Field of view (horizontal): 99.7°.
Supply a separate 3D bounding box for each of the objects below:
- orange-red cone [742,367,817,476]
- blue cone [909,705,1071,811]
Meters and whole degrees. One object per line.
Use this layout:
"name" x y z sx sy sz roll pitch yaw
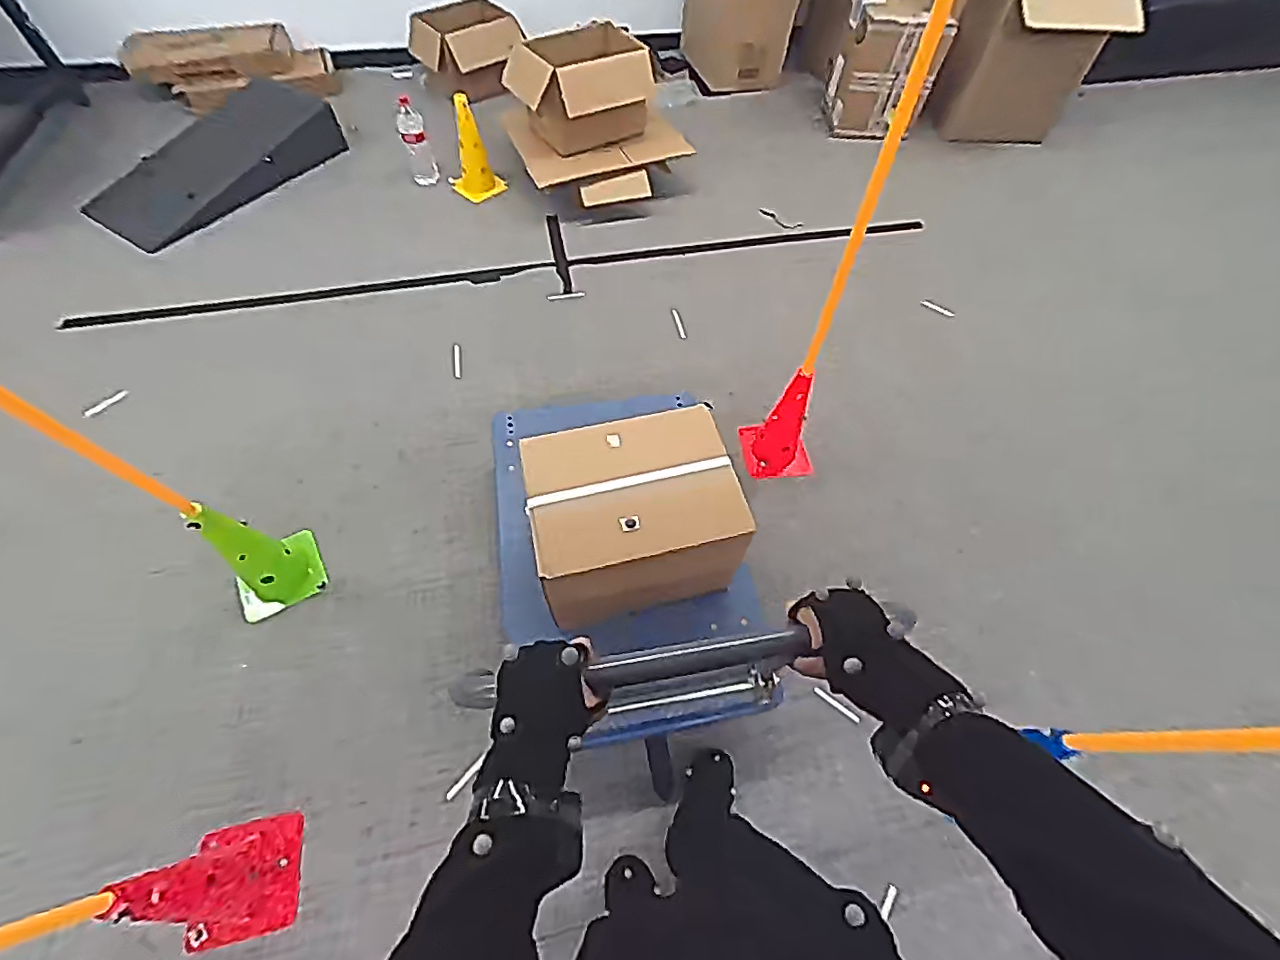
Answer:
"orange-red cone" 0.433 -0.188 1.540 0.199 0.360 0.198 -3 59 -5
"blue cone" 0.746 0.551 1.109 0.193 0.380 0.192 -13 58 -10
